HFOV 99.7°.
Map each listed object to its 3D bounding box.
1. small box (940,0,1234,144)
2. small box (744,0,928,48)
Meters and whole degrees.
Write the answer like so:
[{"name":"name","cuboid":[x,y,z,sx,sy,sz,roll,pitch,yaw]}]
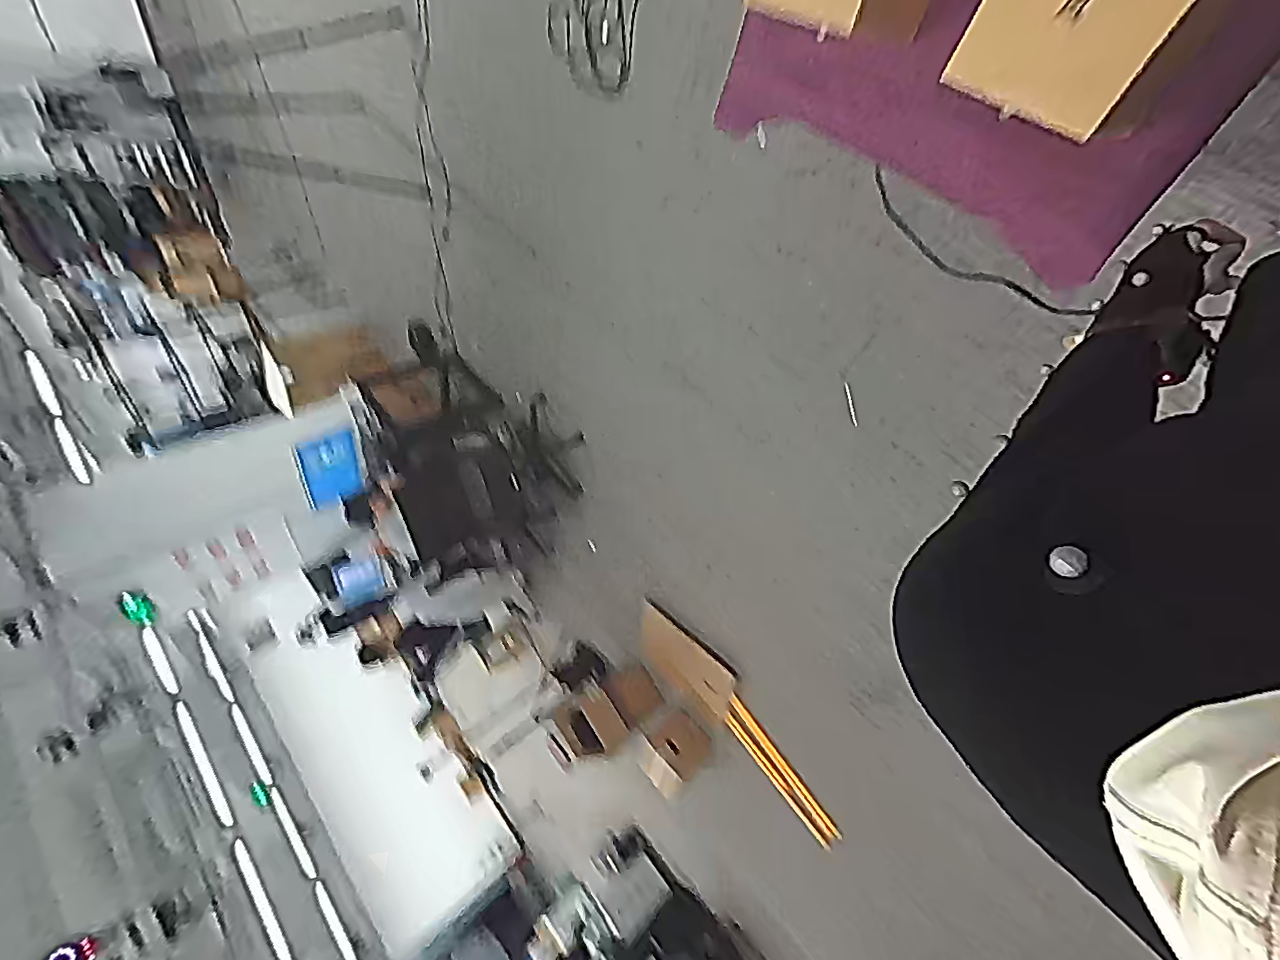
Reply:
[{"name":"small box","cuboid":[0.451,-0.459,0.534,0.168,0.176,0.179,46,141,24]},{"name":"small box","cuboid":[0.259,-0.646,0.646,0.168,0.176,0.179,42,140,25]}]
